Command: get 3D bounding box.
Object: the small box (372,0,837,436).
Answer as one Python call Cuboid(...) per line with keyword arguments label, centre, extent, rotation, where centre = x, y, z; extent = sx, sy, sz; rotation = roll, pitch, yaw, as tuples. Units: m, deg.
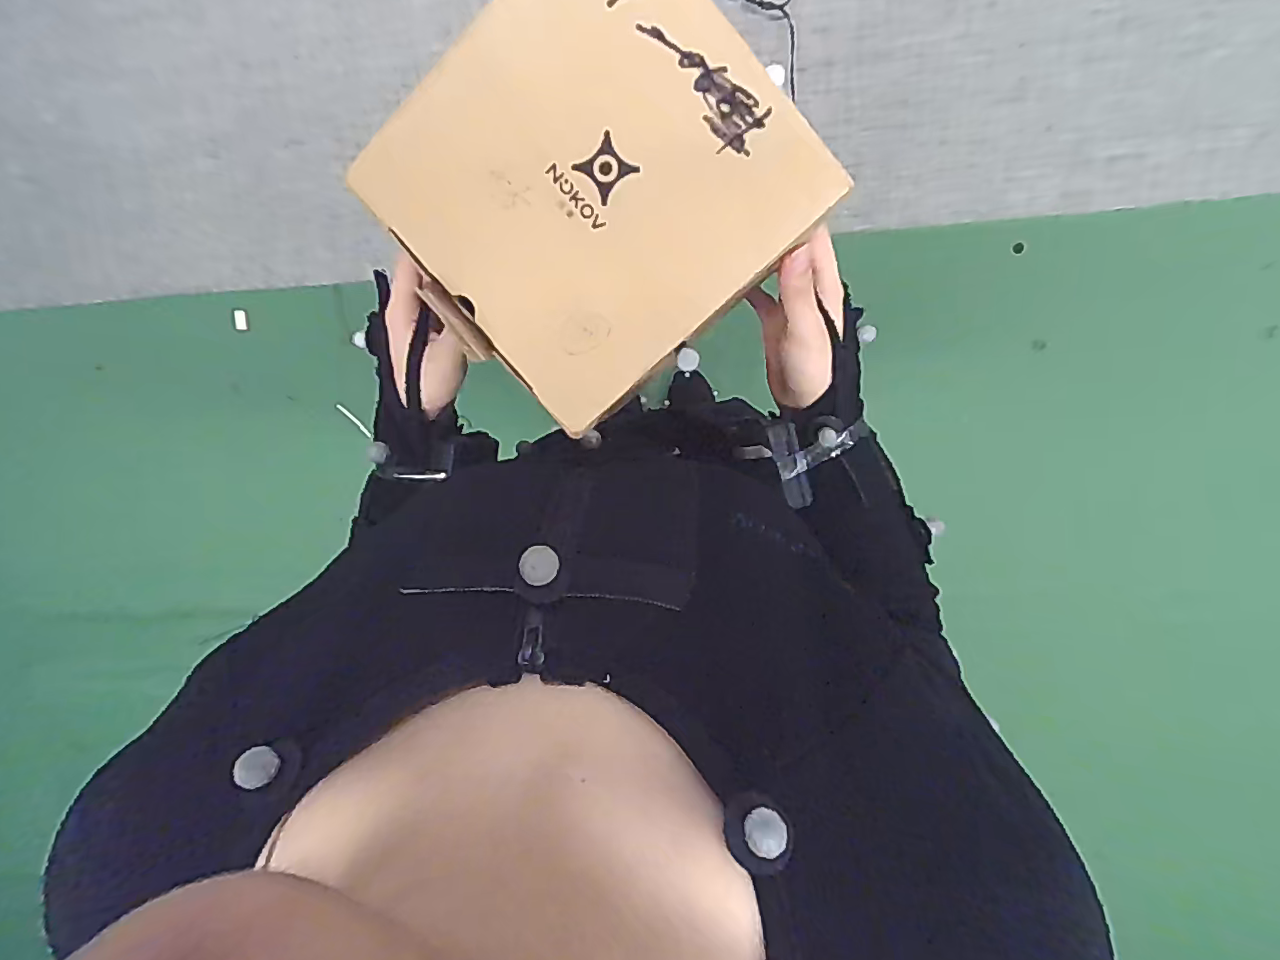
Cuboid(label="small box", centre=(-0.014, -0.150, 0.342), extent=(0.179, 0.176, 0.168), rotation=(-41, 96, 10))
